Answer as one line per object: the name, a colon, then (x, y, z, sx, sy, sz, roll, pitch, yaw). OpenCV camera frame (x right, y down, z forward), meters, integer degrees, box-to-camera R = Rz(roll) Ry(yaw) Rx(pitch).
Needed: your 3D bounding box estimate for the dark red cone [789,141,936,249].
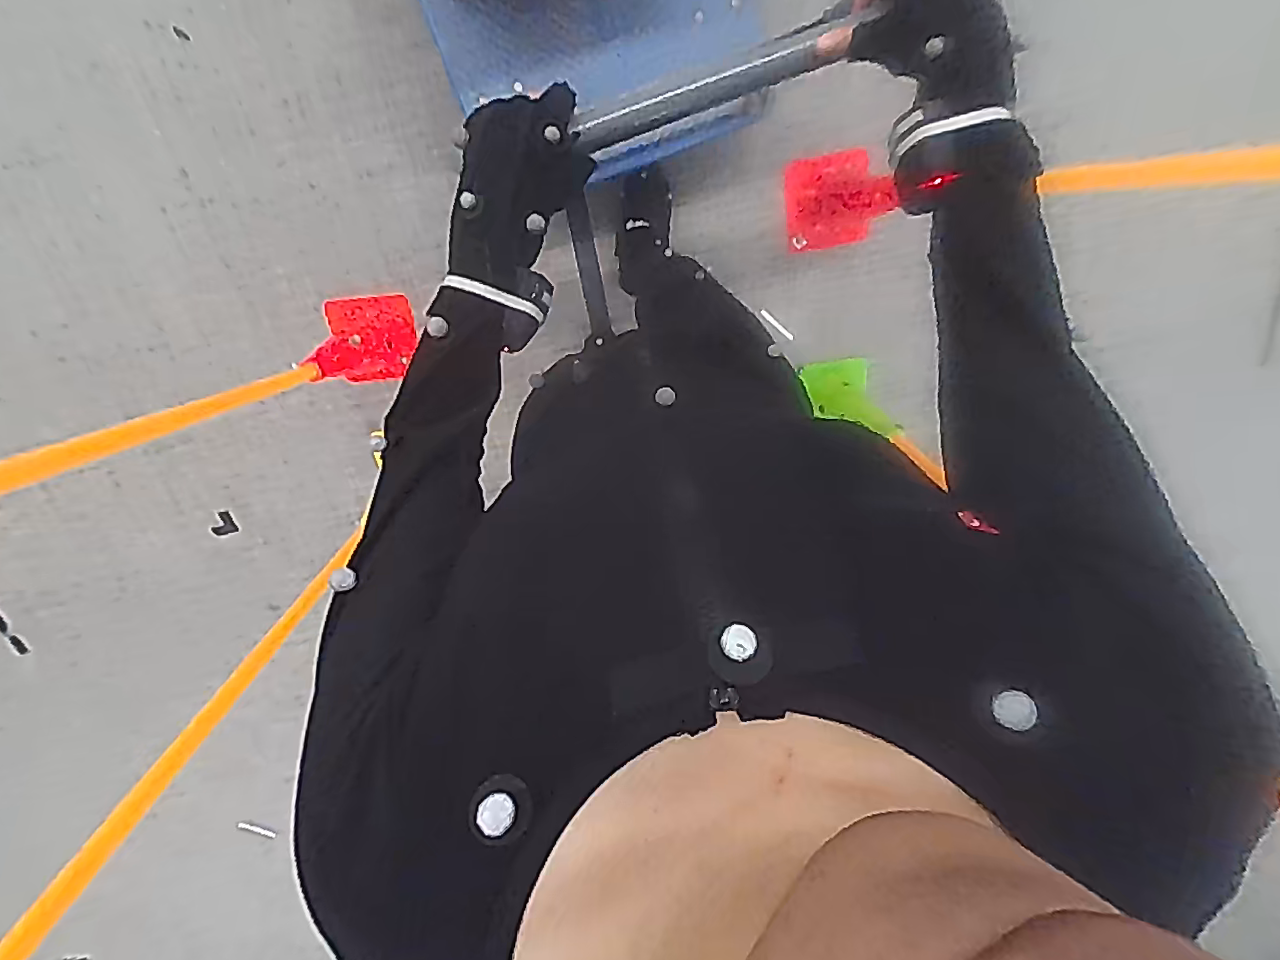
dark red cone: (0.467, -0.591, 1.104, 0.201, 0.394, 0.202, -13, 115, -2)

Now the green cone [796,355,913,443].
green cone: (0.542, -0.162, 1.319, 0.202, 0.368, 0.200, -9, 114, -2)

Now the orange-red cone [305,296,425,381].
orange-red cone: (-0.621, -0.277, 1.162, 0.198, 0.360, 0.199, -6, 113, -4)
